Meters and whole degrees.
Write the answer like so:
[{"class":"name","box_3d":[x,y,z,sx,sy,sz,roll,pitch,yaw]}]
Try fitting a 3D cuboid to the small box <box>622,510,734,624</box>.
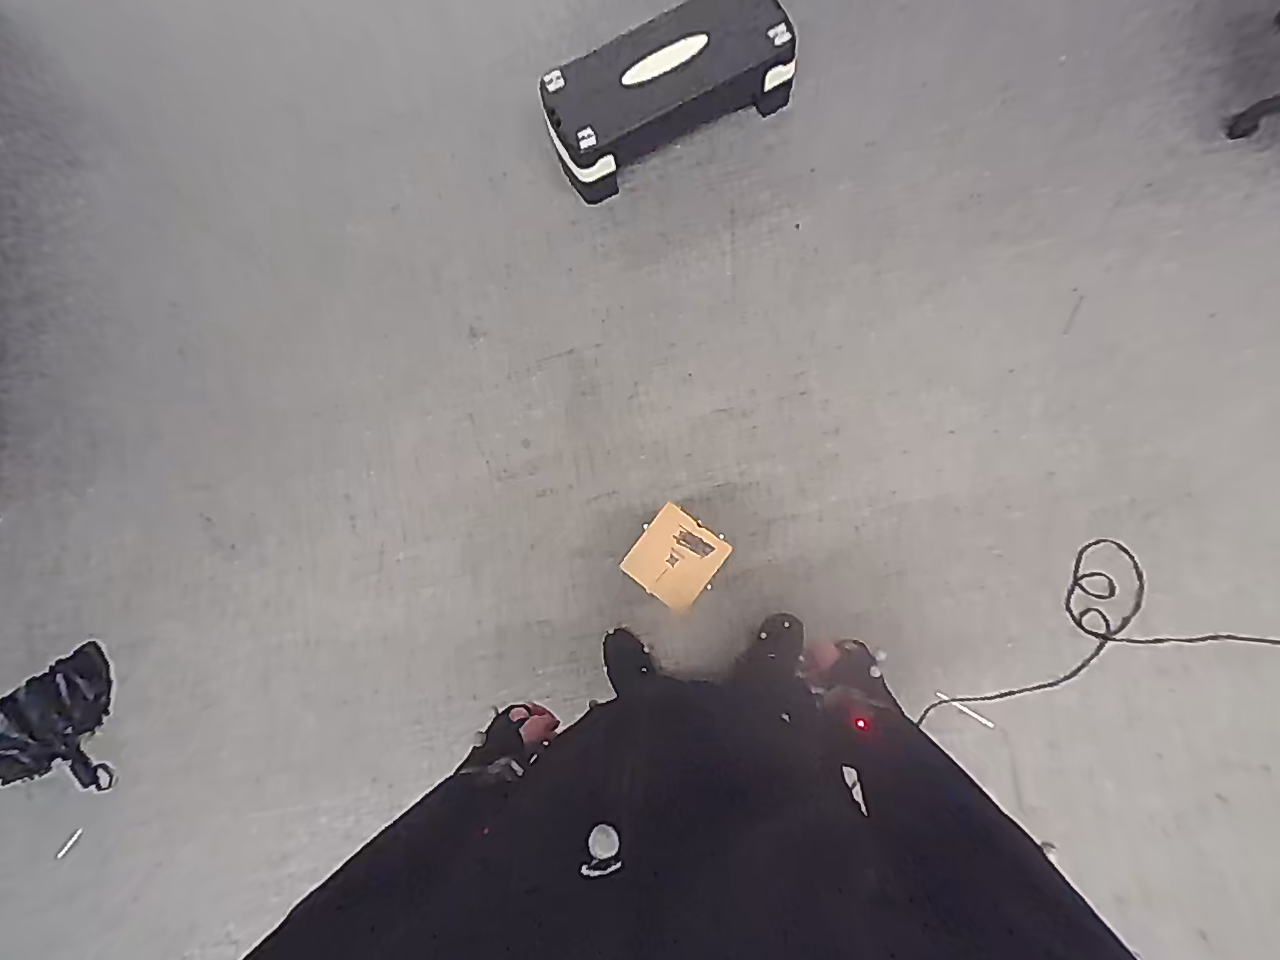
[{"class":"small box","box_3d":[0.084,0.186,1.182,0.168,0.176,0.179,37,88,11]}]
